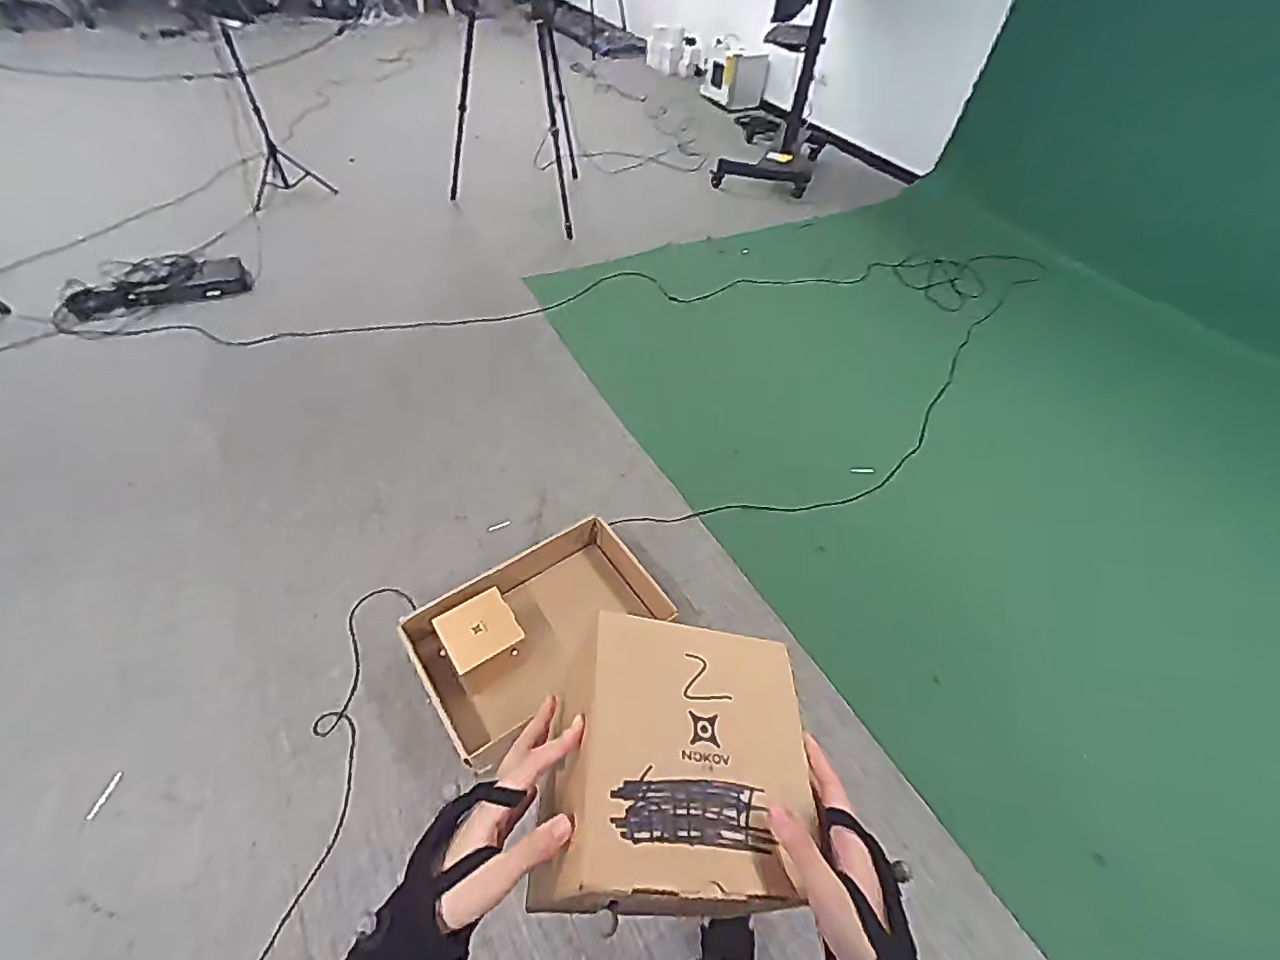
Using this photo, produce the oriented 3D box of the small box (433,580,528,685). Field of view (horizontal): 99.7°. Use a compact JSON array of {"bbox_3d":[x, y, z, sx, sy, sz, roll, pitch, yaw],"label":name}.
[{"bbox_3d":[-0.405,0.397,1.398,0.179,0.176,0.168,-27,60,-26],"label":"small box"}]
